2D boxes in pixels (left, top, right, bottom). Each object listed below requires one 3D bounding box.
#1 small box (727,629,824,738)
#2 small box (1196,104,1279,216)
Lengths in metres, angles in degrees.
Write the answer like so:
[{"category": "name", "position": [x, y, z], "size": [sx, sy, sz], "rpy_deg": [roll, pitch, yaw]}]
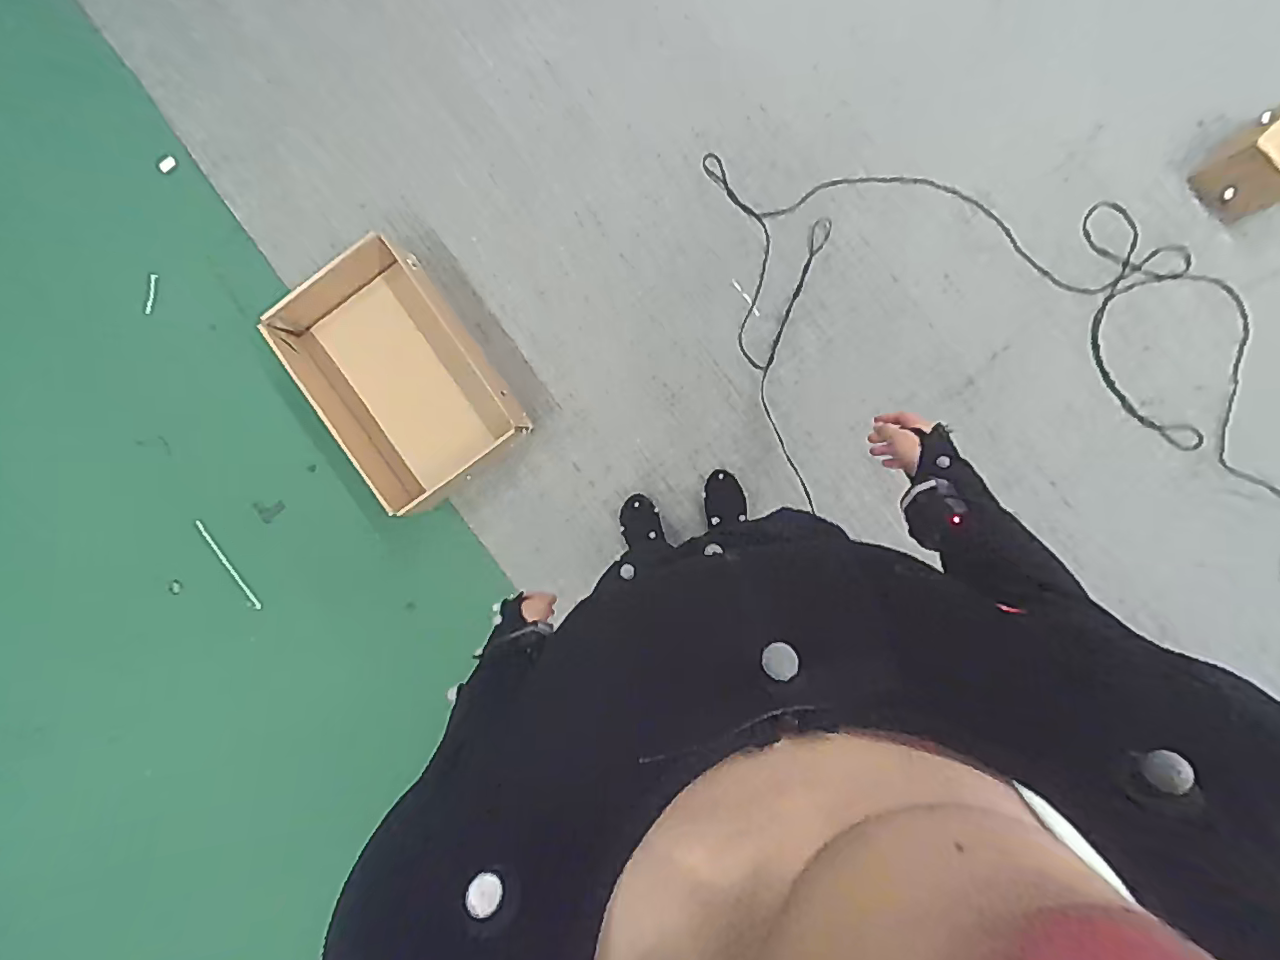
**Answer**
[{"category": "small box", "position": [0.336, 0.515, 1.392], "size": [0.179, 0.176, 0.168], "rpy_deg": [-36, 89, 4]}, {"category": "small box", "position": [1.502, -0.771, 1.274], "size": [0.168, 0.176, 0.179], "rpy_deg": [44, 95, 1]}]
